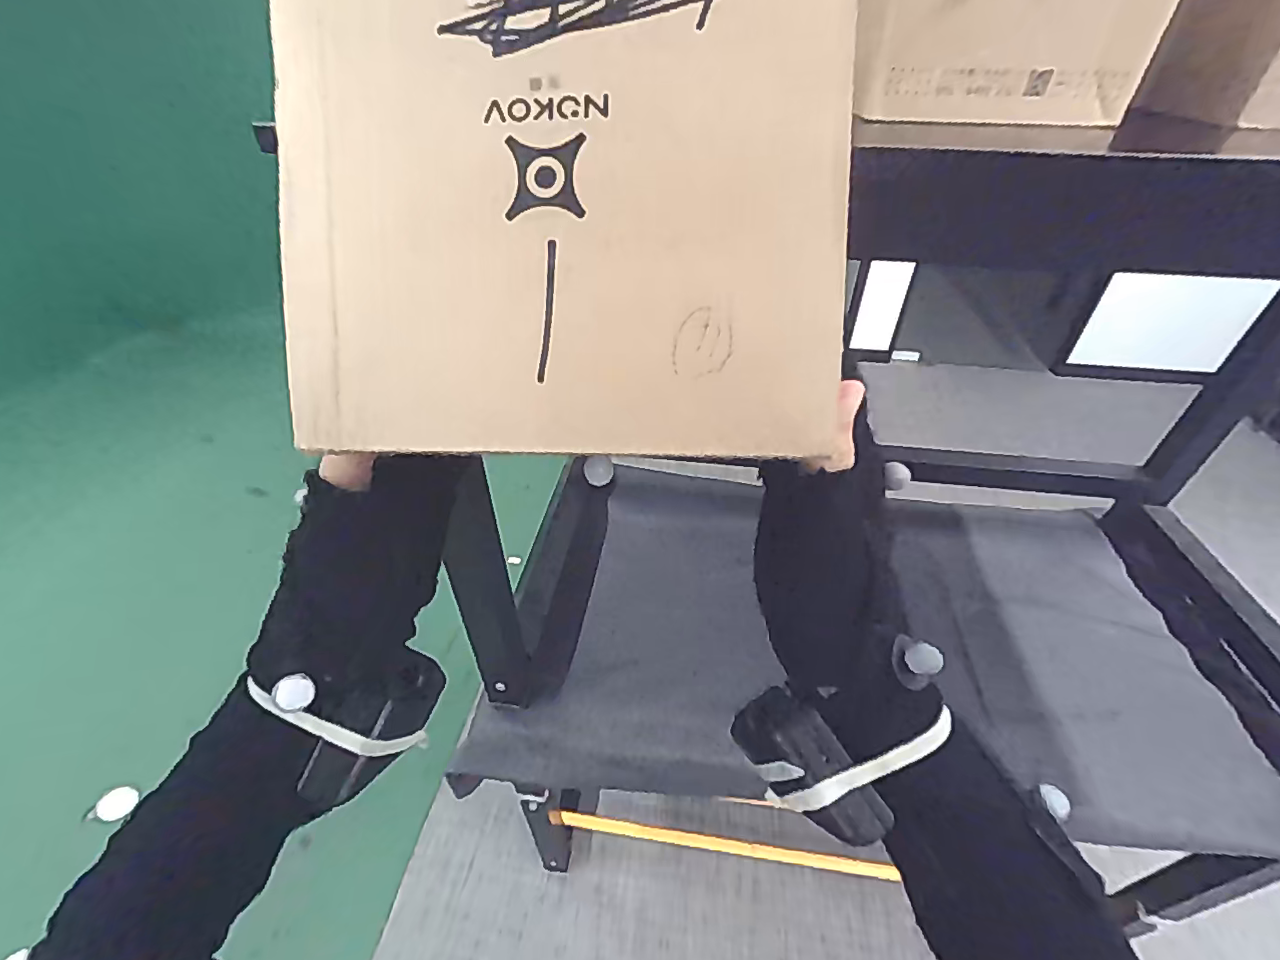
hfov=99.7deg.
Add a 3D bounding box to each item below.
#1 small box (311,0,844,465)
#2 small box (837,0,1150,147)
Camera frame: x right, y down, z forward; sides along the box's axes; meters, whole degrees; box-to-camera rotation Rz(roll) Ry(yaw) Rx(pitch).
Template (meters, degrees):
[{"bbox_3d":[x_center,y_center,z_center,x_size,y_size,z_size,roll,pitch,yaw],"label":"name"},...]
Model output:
[{"bbox_3d":[-0.016,-0.098,0.247,0.168,0.179,0.176,1,4,6],"label":"small box"},{"bbox_3d":[0.251,-0.356,0.402,0.168,0.176,0.179,6,39,6],"label":"small box"}]
